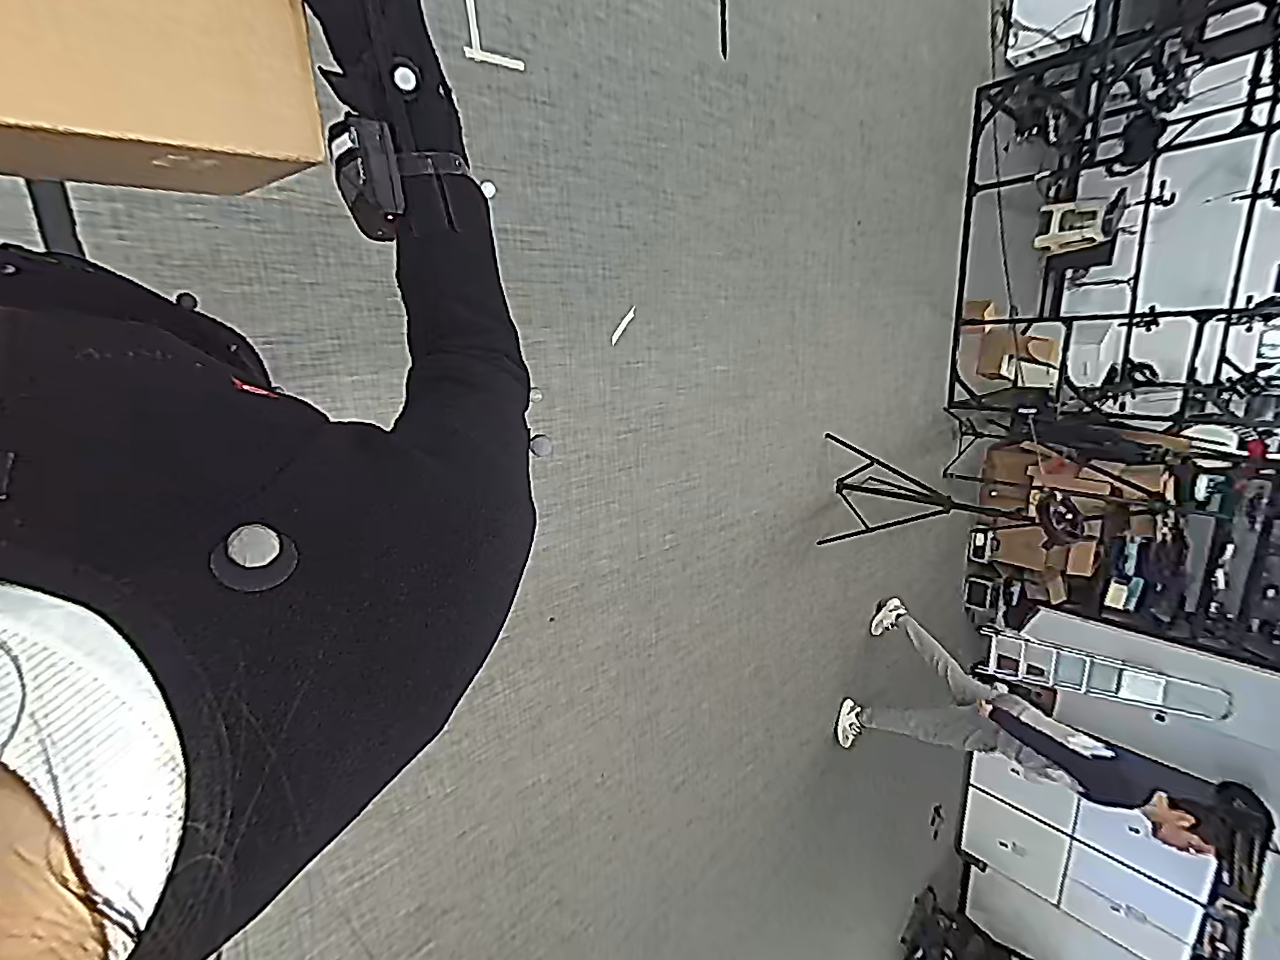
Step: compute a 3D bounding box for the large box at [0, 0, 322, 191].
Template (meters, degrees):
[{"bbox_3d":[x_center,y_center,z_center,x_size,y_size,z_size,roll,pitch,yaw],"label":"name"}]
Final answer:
[{"bbox_3d":[-0.462,-0.352,0.286,0.408,0.320,0.320,-19,120,-40],"label":"large box"}]
